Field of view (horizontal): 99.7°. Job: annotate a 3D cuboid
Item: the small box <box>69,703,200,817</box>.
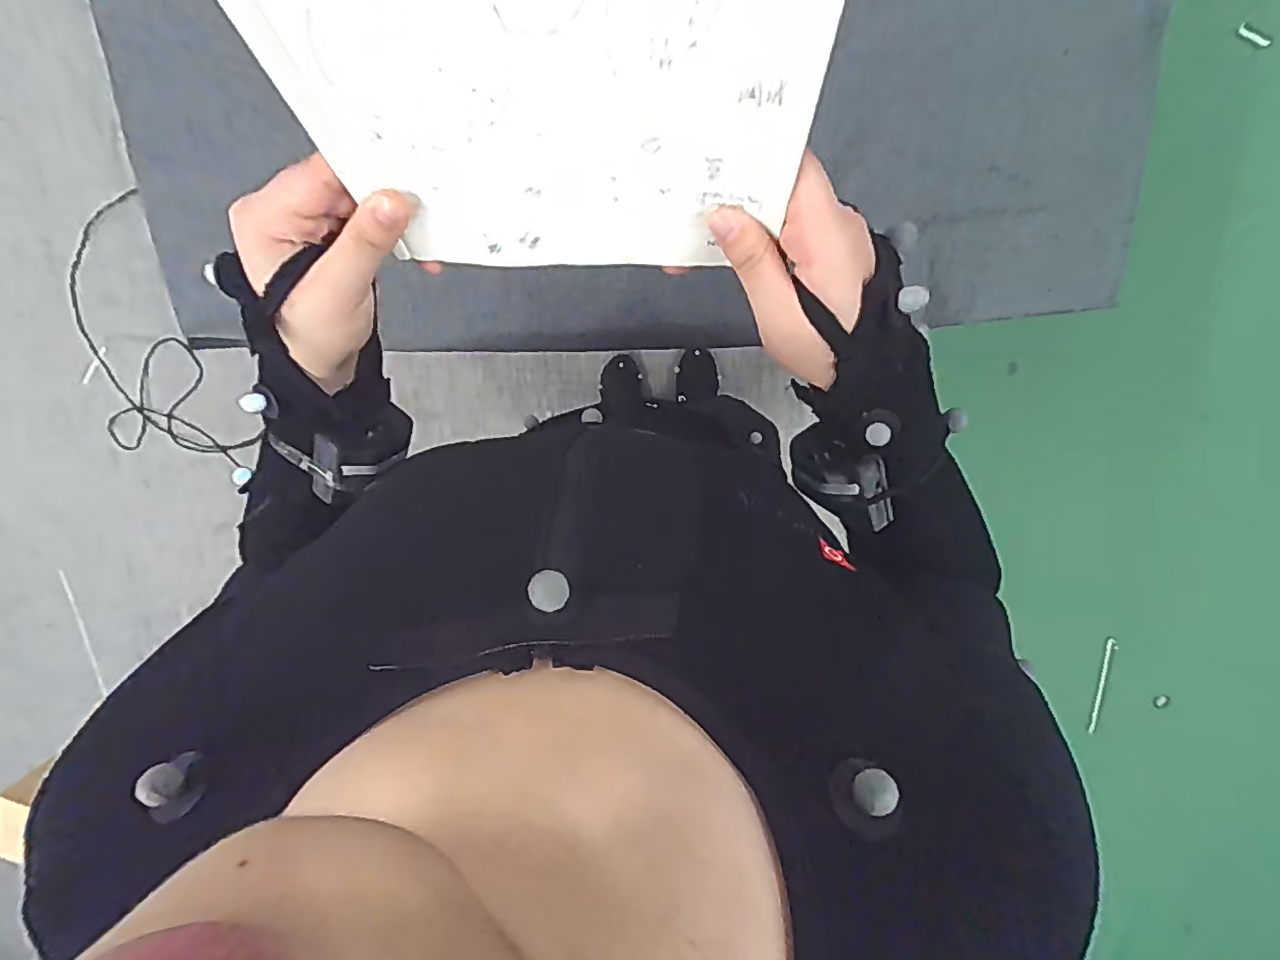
[{"bbox_3d":[-1.266,0.697,1.364,0.179,0.176,0.168,19,104,-4],"label":"small box"}]
